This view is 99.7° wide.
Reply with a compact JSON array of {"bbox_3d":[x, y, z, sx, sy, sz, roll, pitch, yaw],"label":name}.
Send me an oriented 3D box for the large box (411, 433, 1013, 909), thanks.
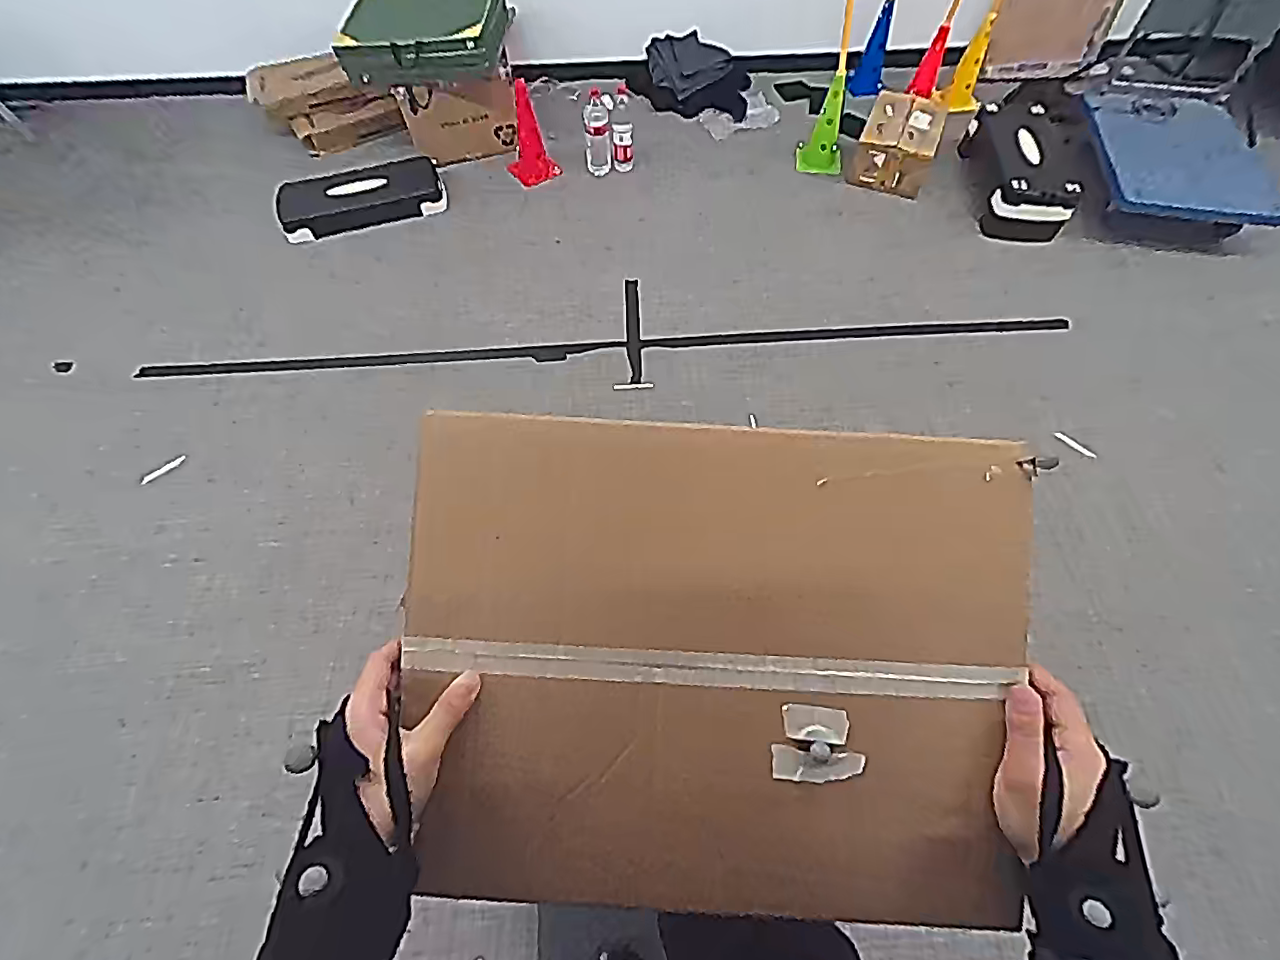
[{"bbox_3d":[0.046,0.134,0.511,0.408,0.320,0.320,3,89,-1],"label":"large box"}]
